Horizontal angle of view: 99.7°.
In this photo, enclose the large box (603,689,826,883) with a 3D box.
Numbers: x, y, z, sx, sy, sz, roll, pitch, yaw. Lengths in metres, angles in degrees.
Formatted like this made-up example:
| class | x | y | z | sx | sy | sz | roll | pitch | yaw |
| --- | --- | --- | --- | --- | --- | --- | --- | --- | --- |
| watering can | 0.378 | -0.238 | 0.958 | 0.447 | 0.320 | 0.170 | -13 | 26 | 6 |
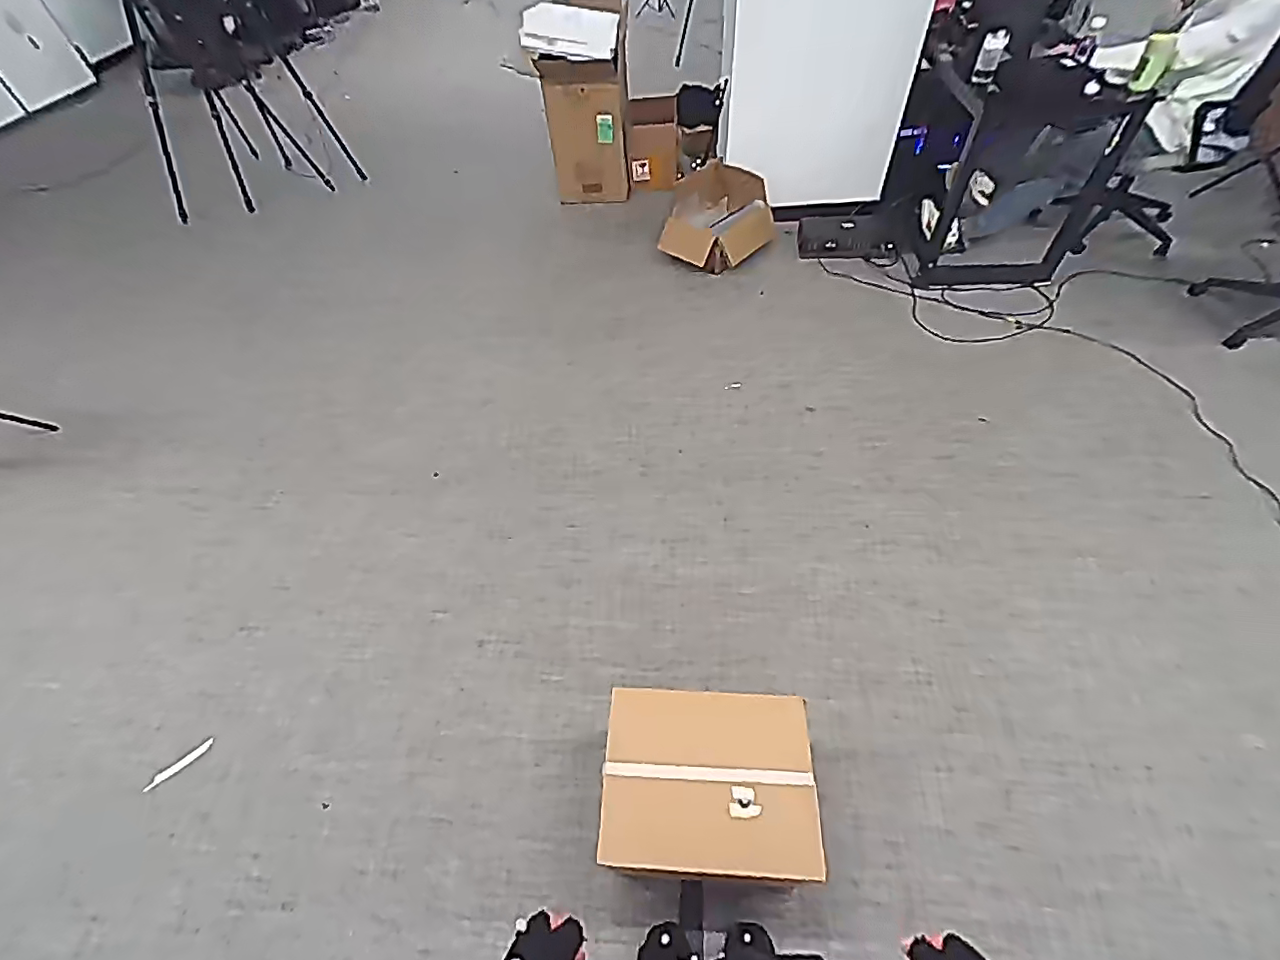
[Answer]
| class | x | y | z | sx | sy | sz | roll | pitch | yaw |
| --- | --- | --- | --- | --- | --- | --- | --- | --- | --- |
| large box | 0.140 | 0.660 | 1.162 | 0.408 | 0.320 | 0.320 | 1 | 52 | 4 |
